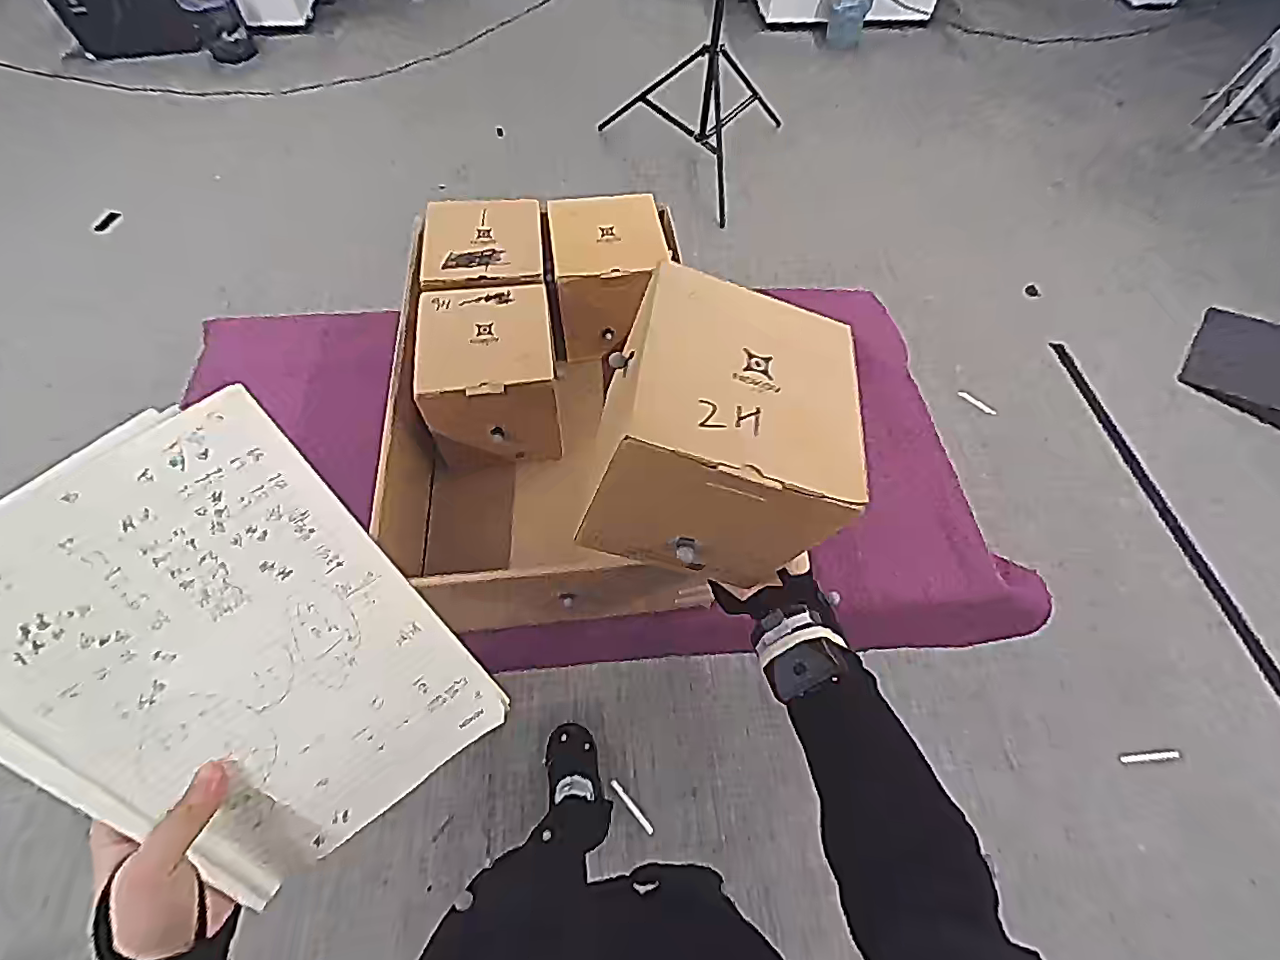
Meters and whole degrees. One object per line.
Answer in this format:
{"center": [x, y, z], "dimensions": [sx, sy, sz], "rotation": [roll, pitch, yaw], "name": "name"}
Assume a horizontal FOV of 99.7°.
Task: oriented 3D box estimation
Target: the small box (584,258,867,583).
{"center": [0.059, -0.038, 0.445], "dimensions": [0.168, 0.176, 0.179], "rotation": [16, 57, -9], "name": "small box"}
